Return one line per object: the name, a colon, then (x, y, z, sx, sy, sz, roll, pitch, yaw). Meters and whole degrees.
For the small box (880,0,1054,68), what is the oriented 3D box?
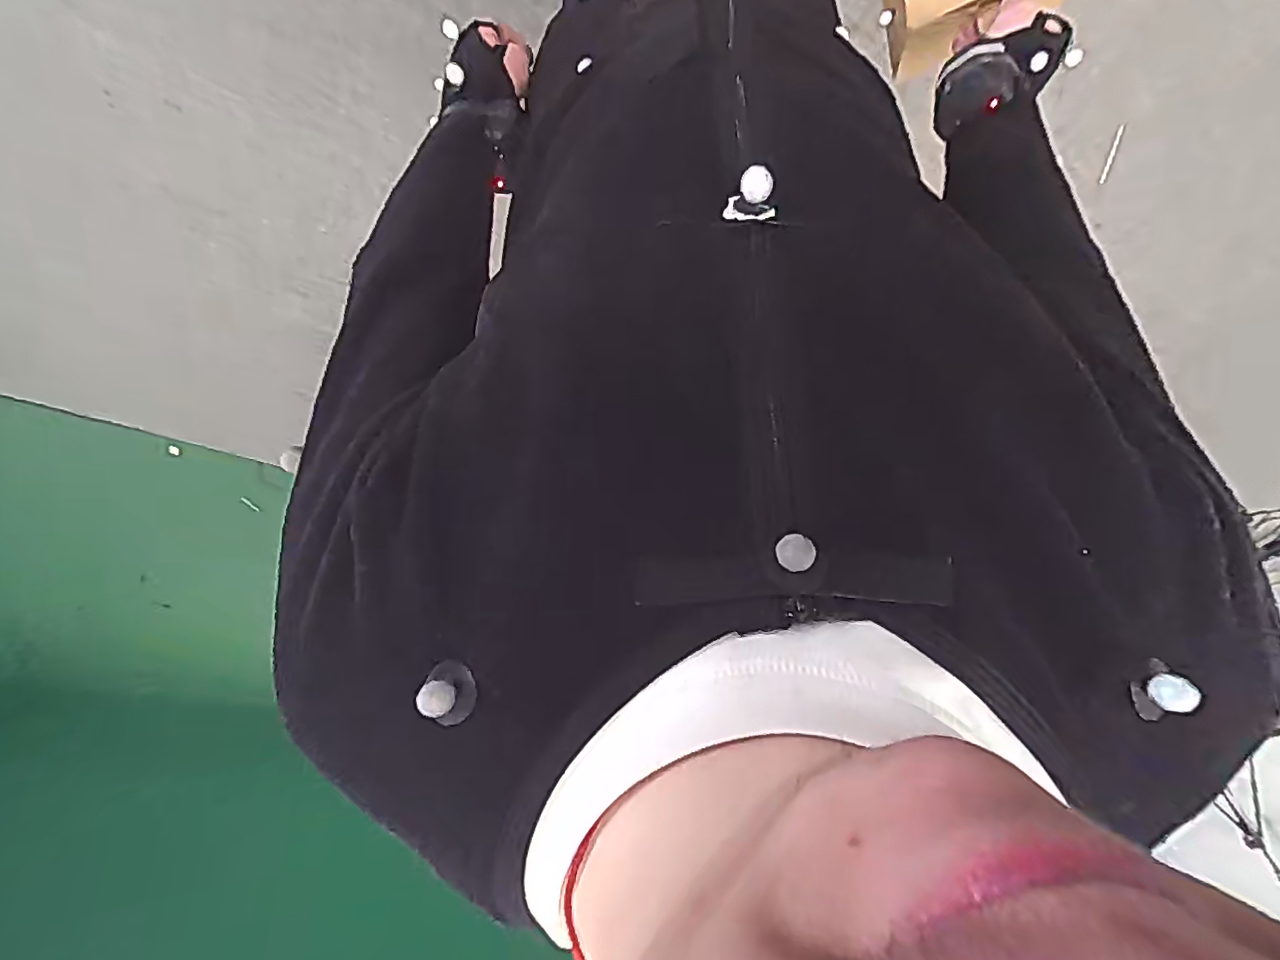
small box: (0.345, -0.570, 0.559, 0.168, 0.176, 0.179, -11, 104, 22)
